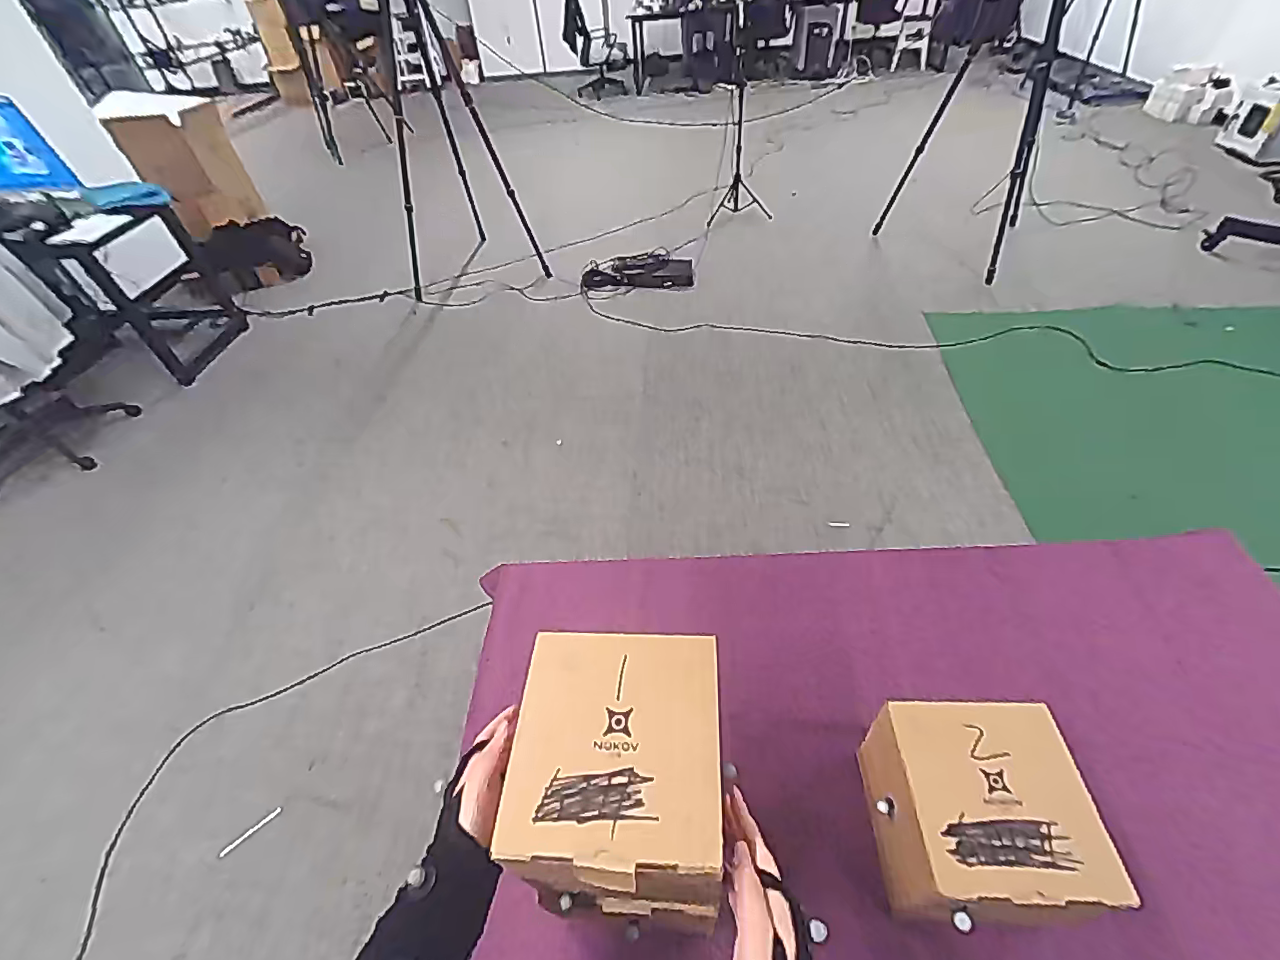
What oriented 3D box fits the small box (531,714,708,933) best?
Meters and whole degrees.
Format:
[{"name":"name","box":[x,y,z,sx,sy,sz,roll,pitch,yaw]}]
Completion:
[{"name":"small box","box":[-0.009,0.382,0.601,0.168,0.176,0.179,1,47,5]}]
